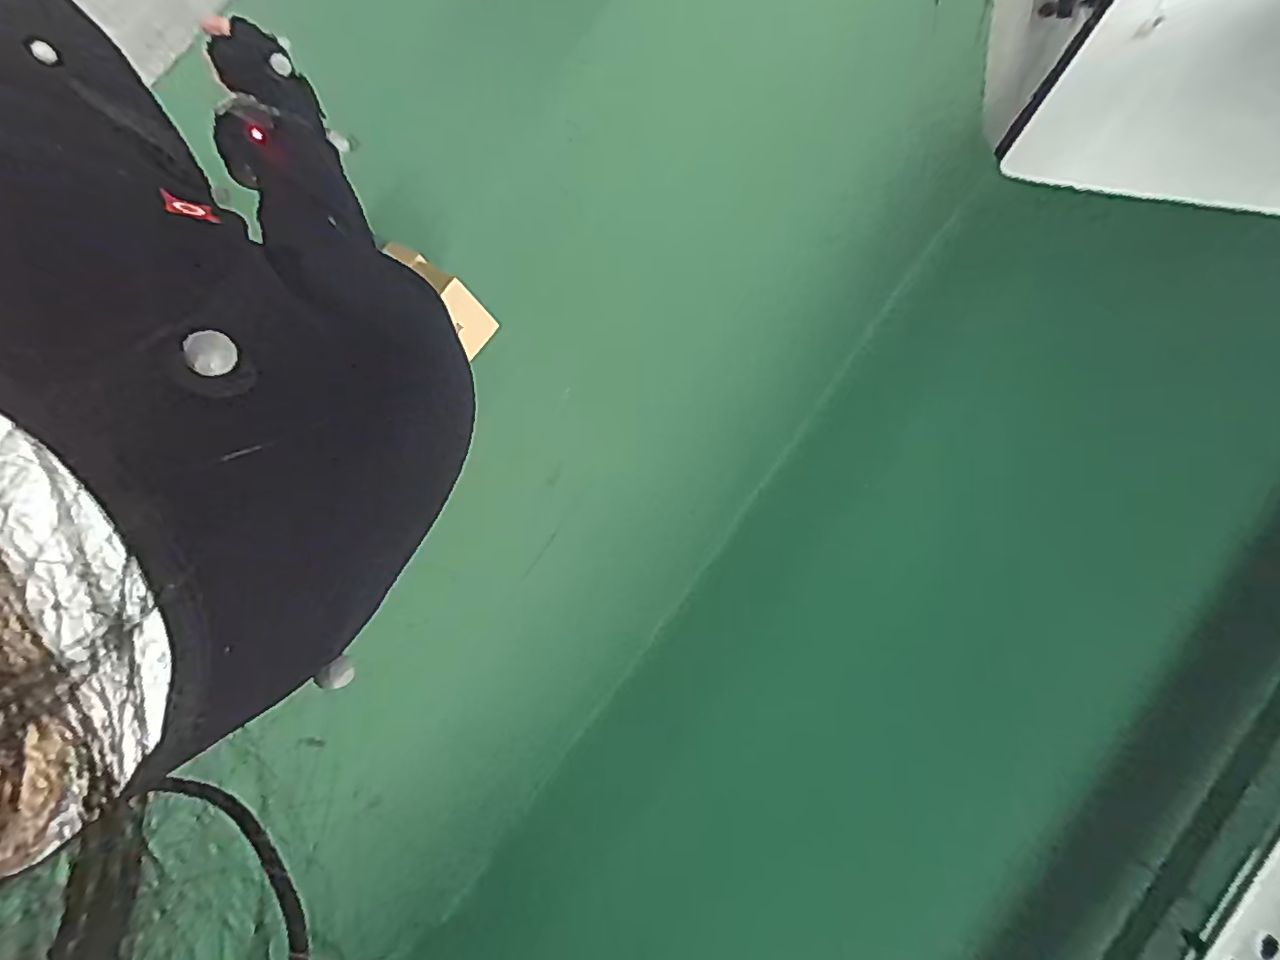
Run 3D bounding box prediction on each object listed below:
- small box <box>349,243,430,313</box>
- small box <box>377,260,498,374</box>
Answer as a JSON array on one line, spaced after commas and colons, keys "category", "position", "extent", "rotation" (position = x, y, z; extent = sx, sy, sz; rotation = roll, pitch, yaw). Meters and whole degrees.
[{"category": "small box", "position": [-0.595, -0.477, 1.371], "extent": [0.168, 0.176, 0.179], "rotation": [-51, 145, -8]}, {"category": "small box", "position": [-0.483, -0.390, 1.285], "extent": [0.179, 0.176, 0.168], "rotation": [-52, 145, -7]}]
